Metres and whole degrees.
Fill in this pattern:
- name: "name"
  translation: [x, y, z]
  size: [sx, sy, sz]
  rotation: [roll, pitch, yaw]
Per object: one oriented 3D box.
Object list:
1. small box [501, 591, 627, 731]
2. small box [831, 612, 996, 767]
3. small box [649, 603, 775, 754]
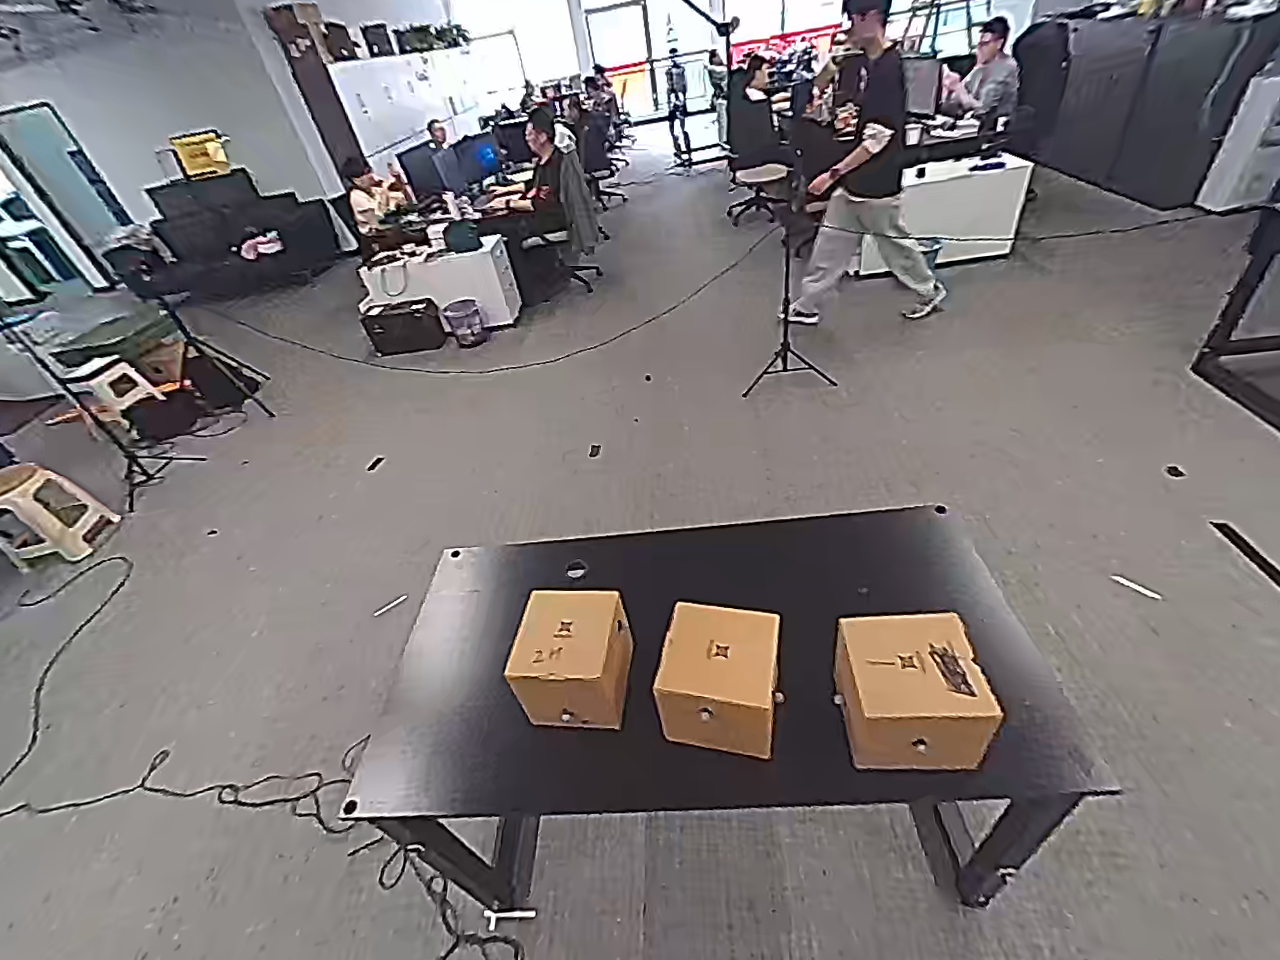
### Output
- name: "small box"
  translation: [-0.123, 0.321, 0.969]
  size: [0.168, 0.176, 0.179]
  rotation: [-3, 40, 12]
- name: "small box"
  translation: [0.402, 0.323, 0.832]
  size: [0.179, 0.176, 0.168]
  rotation: [-6, 39, 9]
- name: "small box"
  translation: [0.130, 0.329, 0.897]
  size: [0.179, 0.176, 0.168]
  rotation: [2, 40, 18]
